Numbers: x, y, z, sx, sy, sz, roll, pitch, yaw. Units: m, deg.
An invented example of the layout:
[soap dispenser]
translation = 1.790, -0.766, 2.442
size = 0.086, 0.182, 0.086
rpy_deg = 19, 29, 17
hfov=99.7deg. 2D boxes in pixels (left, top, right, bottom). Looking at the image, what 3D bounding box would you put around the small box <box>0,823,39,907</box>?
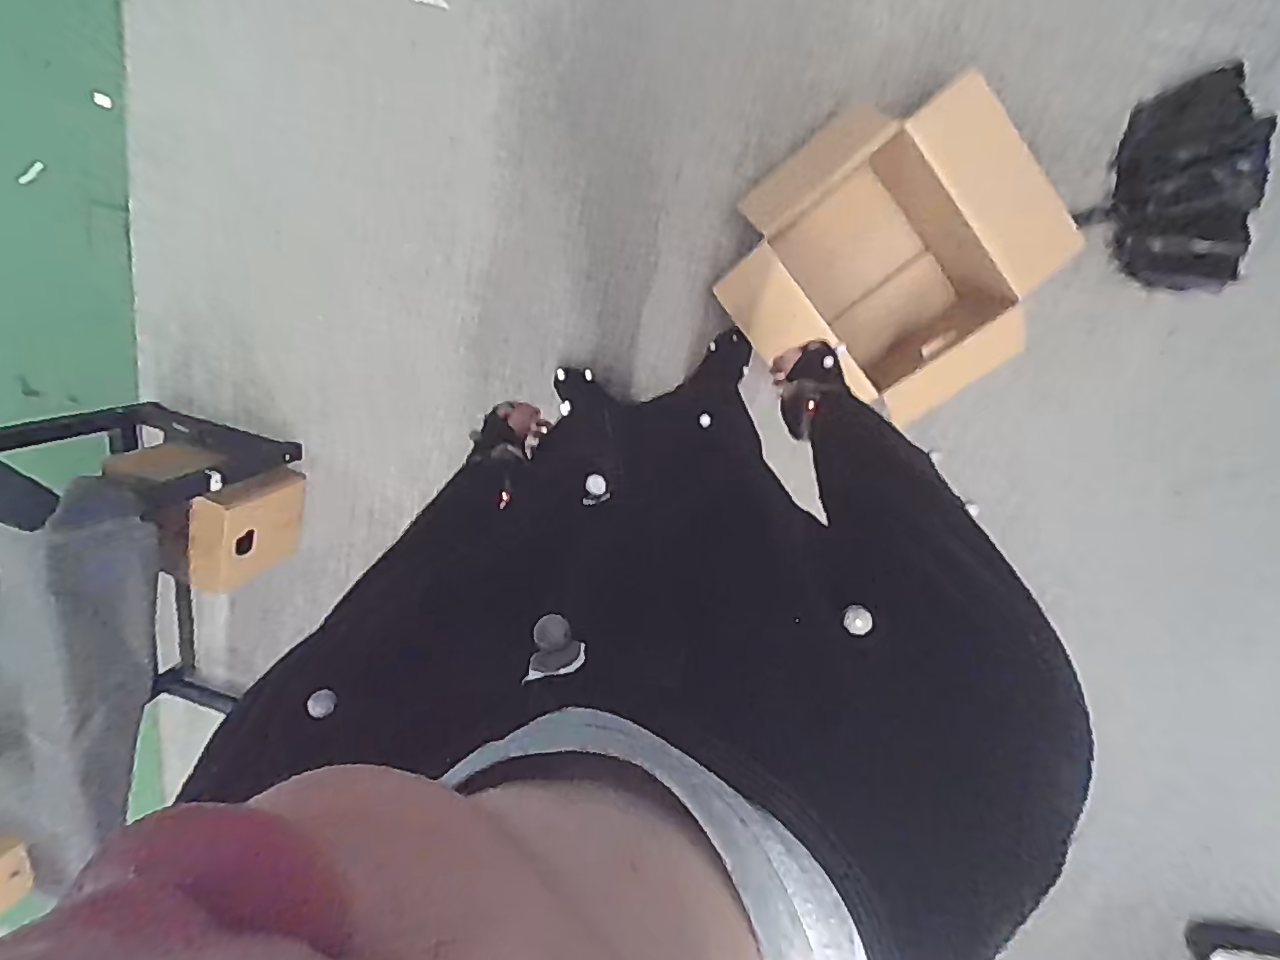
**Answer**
[small box]
translation = -1.748, 1.029, 1.412
size = 0.168, 0.176, 0.179
rpy_deg = 12, 109, 7
